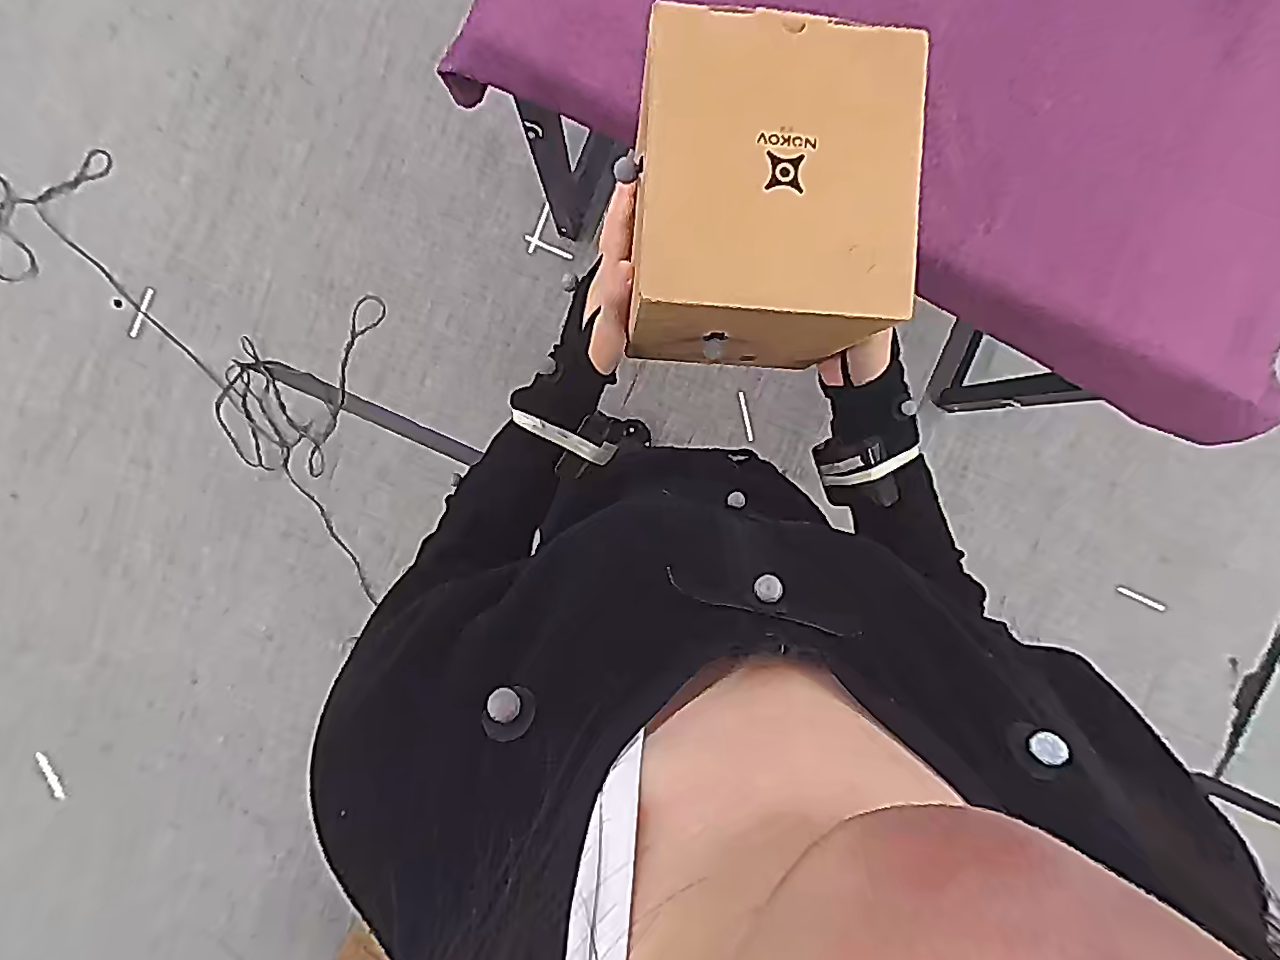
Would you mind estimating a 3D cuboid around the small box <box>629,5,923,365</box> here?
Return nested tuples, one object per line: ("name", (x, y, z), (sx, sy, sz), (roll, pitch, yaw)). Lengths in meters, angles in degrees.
("small box", (0.080, -0.189, 0.403), (0.168, 0.176, 0.179), (3, 90, -4))
